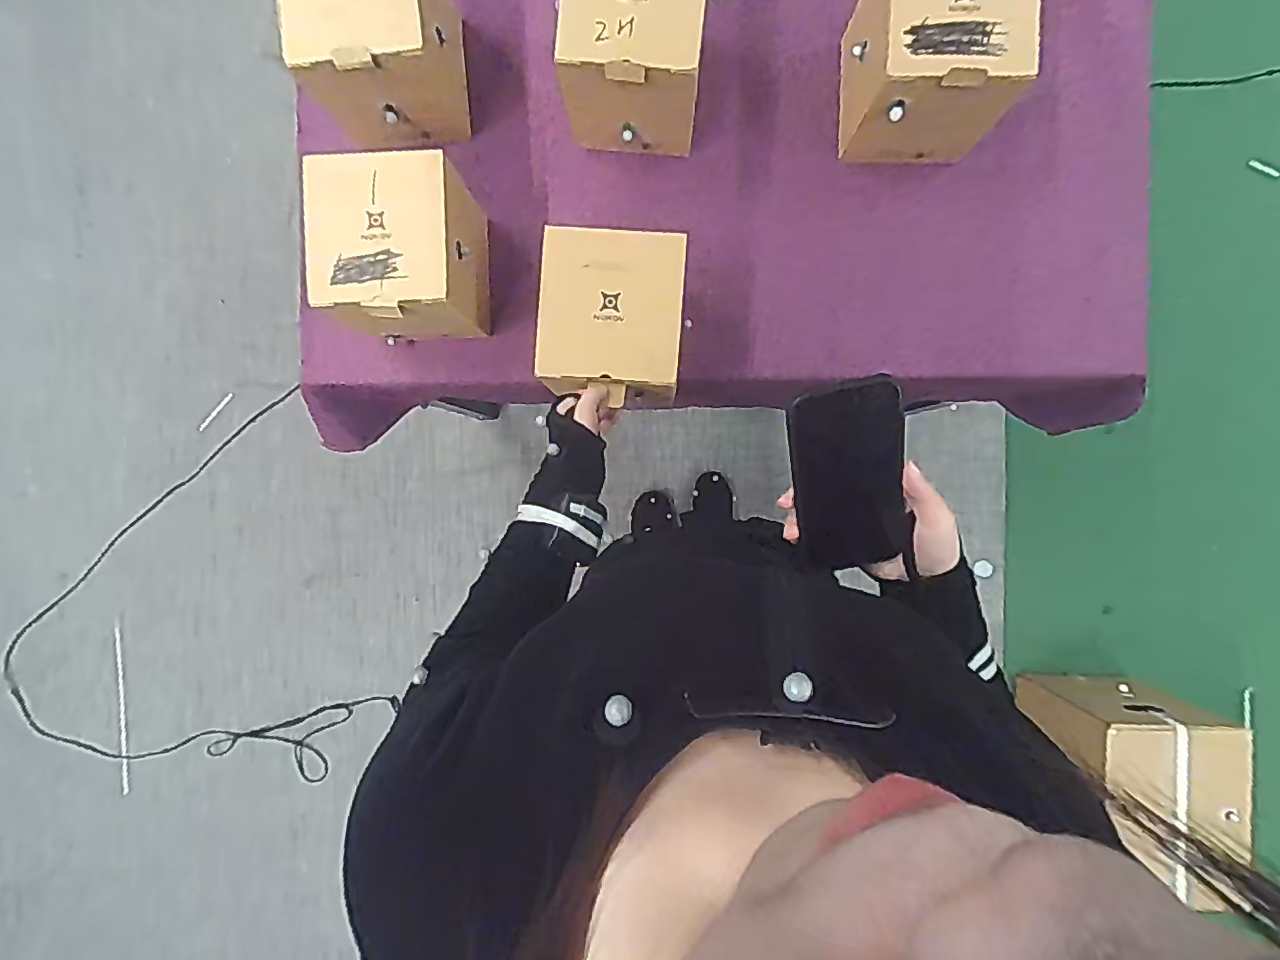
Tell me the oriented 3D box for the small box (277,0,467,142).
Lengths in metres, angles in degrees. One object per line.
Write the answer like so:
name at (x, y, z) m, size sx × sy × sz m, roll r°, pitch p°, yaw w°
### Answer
small box at (-0.335, -0.567, 0.699) m, size 0.168 × 0.176 × 0.179 m, roll -5°, pitch 92°, yaw 1°

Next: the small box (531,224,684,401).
small box at (-0.035, -0.201, 0.697) m, size 0.168 × 0.176 × 0.179 m, roll 5°, pitch 90°, yaw 1°

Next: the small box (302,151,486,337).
small box at (-0.305, -0.290, 0.702) m, size 0.168 × 0.176 × 0.179 m, roll -2°, pitch 89°, yaw 1°

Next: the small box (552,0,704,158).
small box at (-0.008, -0.552, 0.689) m, size 0.168 × 0.176 × 0.179 m, roll 6°, pitch 91°, yaw 2°
